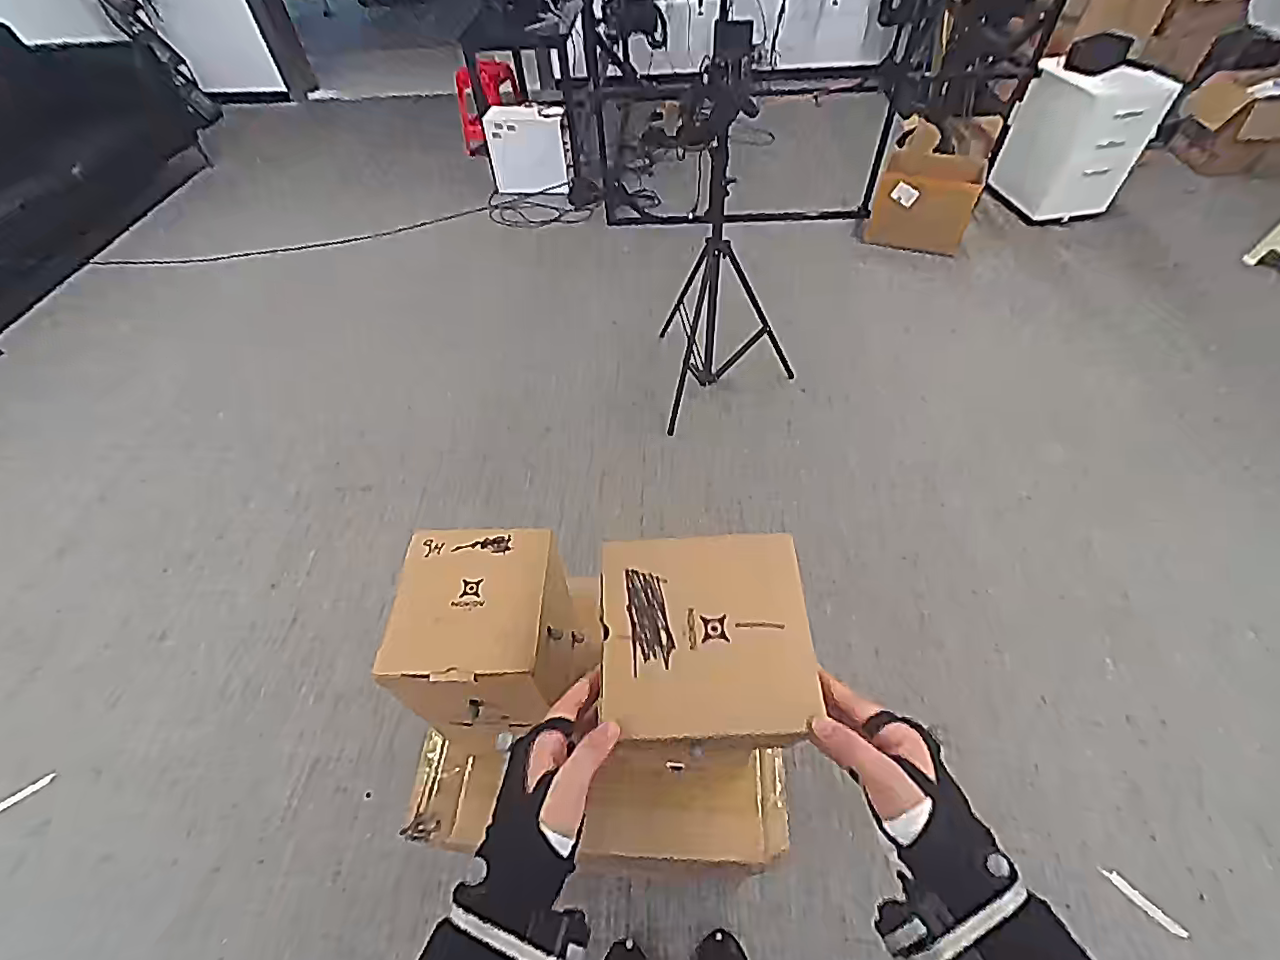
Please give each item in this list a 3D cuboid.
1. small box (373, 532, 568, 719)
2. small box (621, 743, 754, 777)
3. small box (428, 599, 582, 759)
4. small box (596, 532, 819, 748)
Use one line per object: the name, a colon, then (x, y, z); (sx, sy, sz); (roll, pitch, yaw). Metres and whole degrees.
small box: (-0.184, 0.181, 0.653); (0.168, 0.176, 0.179); (-1, 52, 2)
small box: (0.064, 0.300, 0.757); (0.168, 0.176, 0.179); (-1, 53, 6)
small box: (-0.178, 0.286, 0.780); (0.168, 0.176, 0.179); (0, 52, 2)
small box: (0.055, 0.162, 0.526); (0.179, 0.176, 0.168); (-2, 60, 1)
